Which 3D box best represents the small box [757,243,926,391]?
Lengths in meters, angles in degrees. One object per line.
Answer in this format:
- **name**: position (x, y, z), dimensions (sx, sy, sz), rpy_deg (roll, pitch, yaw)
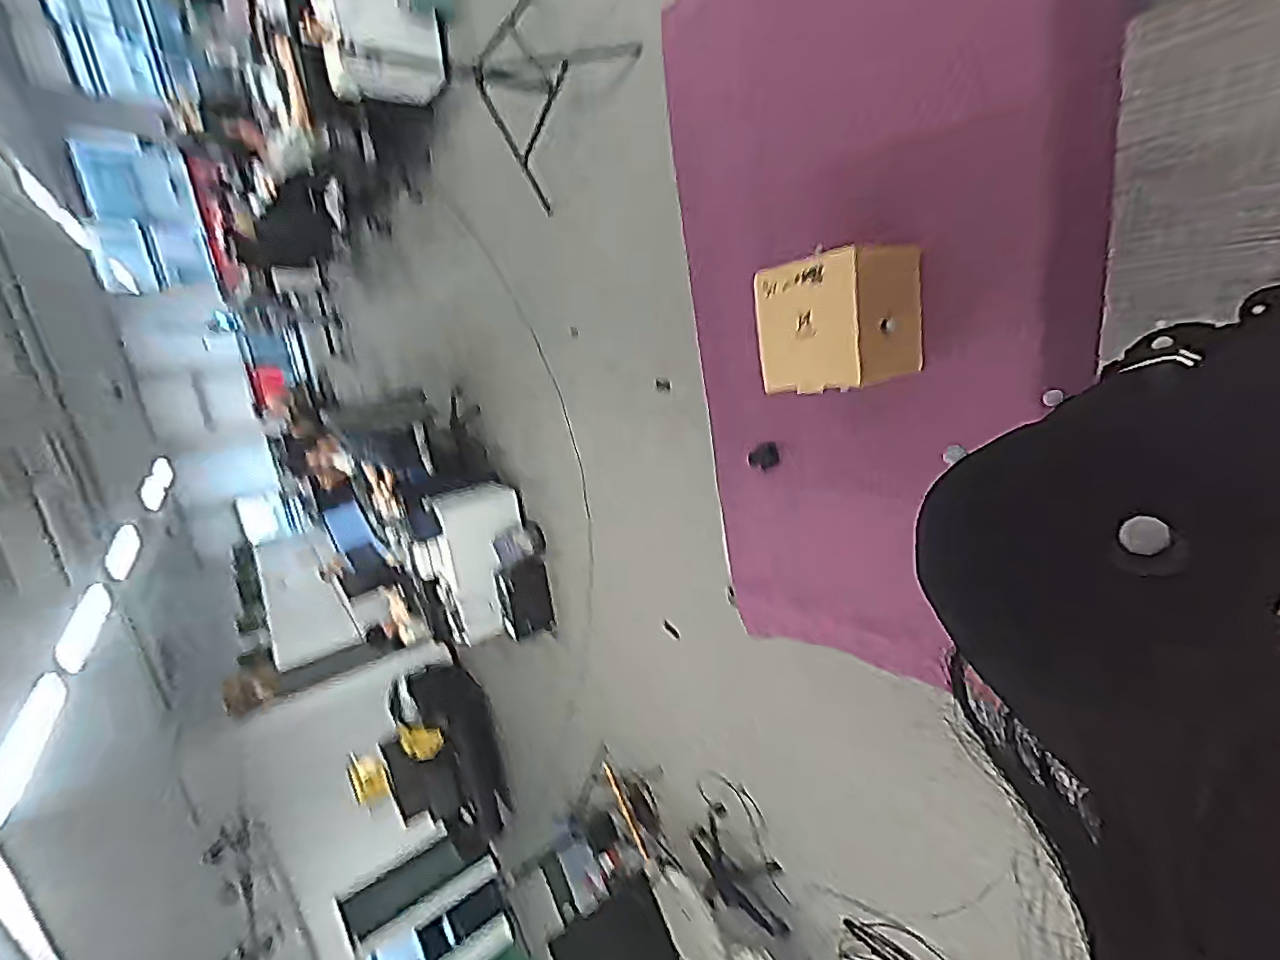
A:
- **small box**: position (0.298, -0.235, 0.792), dimensions (0.168, 0.176, 0.179), rpy_deg (8, 111, 54)
